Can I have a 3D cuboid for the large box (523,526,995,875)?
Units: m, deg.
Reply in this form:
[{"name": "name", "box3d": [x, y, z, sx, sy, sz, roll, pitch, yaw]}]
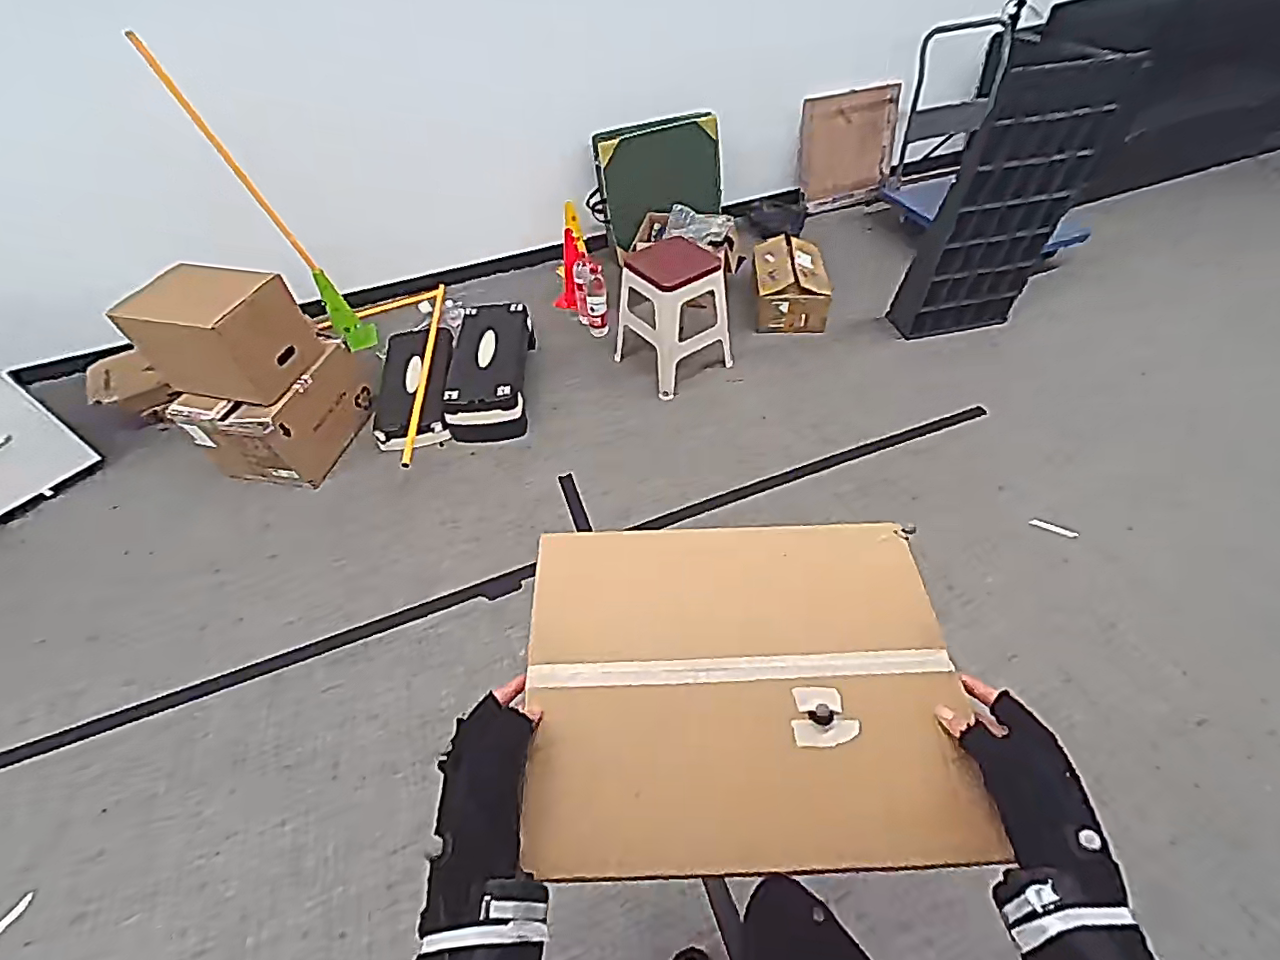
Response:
[{"name": "large box", "box3d": [0.094, 0.273, 0.652, 0.408, 0.320, 0.320, -2, 54, 0]}]
